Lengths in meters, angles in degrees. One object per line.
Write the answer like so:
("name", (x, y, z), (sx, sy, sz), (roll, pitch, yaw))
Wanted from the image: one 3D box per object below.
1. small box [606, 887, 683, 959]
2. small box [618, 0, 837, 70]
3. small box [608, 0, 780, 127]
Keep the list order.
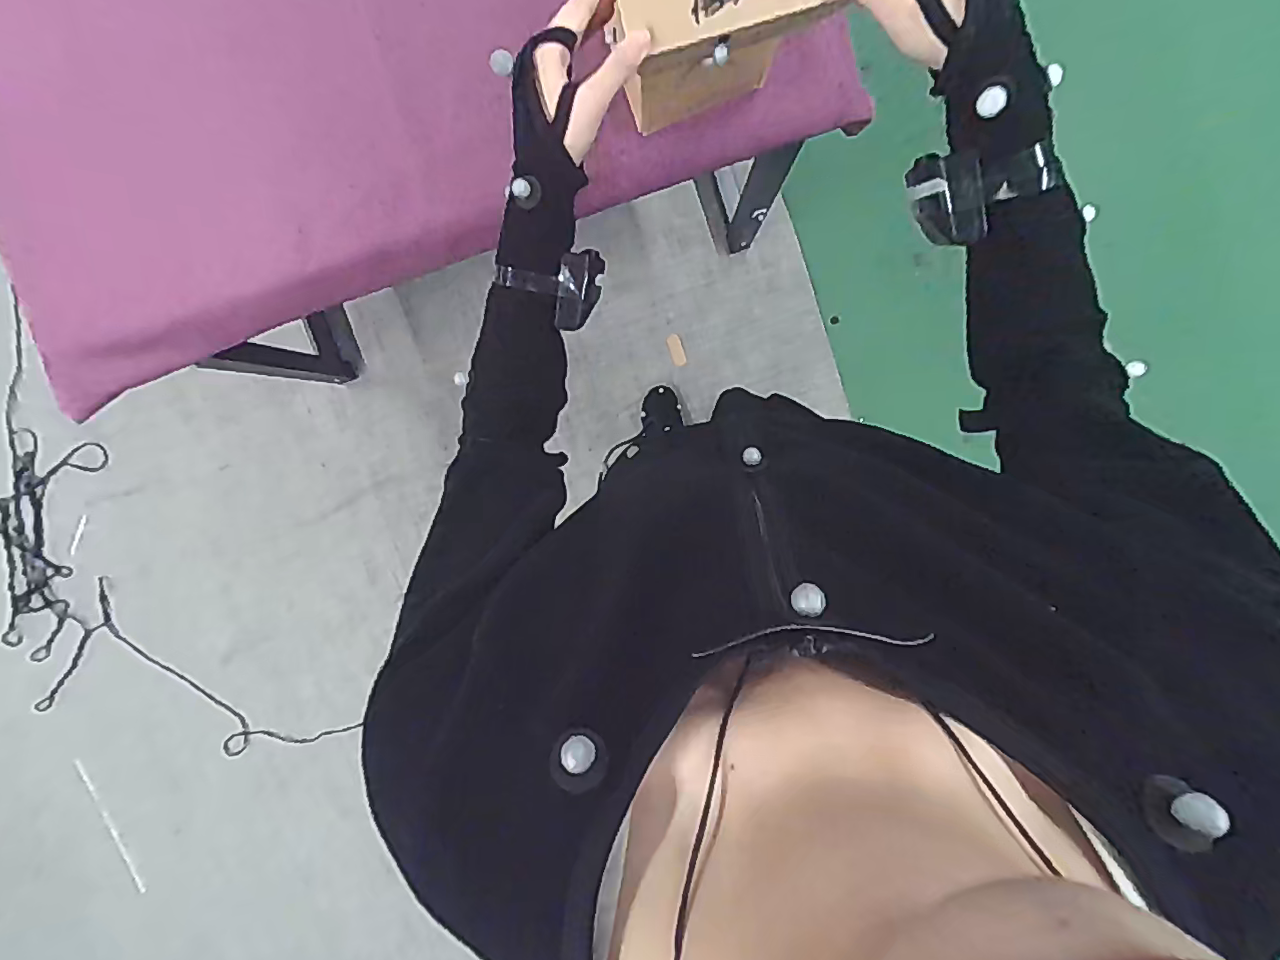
("small box", (0.021, 1.309, 1.530), (0.179, 0.176, 0.168), (-28, 93, 5))
("small box", (0.055, -0.422, 0.380), (0.168, 0.176, 0.179), (-10, 122, 11))
("small box", (0.060, -0.567, 0.638), (0.179, 0.176, 0.168), (-20, 96, 6))
